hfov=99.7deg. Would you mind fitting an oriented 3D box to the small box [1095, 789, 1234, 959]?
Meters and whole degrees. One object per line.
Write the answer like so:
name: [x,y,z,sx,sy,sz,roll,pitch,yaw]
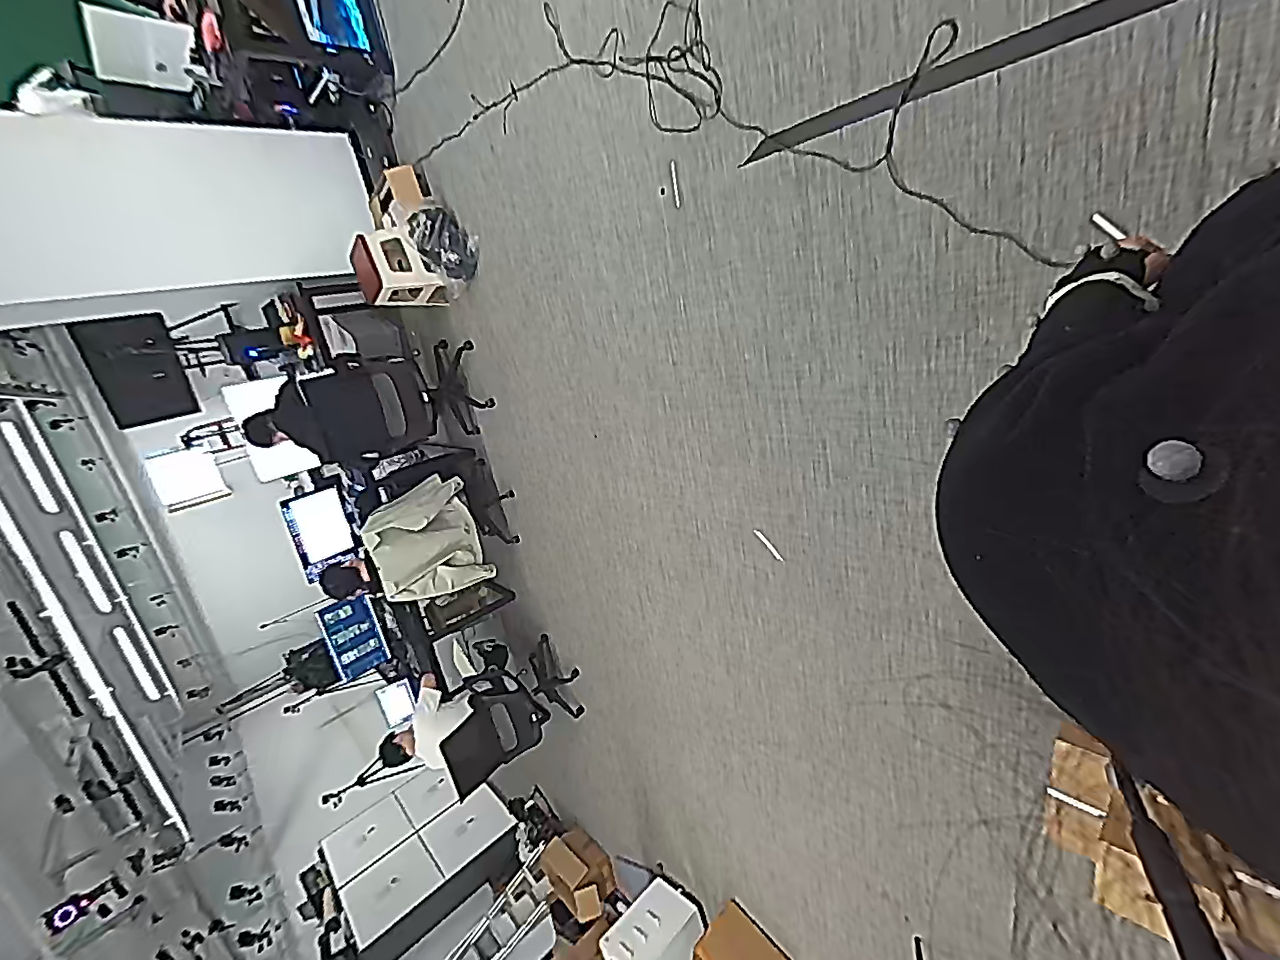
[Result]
small box: [1.025,0.755,1.059,0.179,0.176,0.168,8,114,49]
